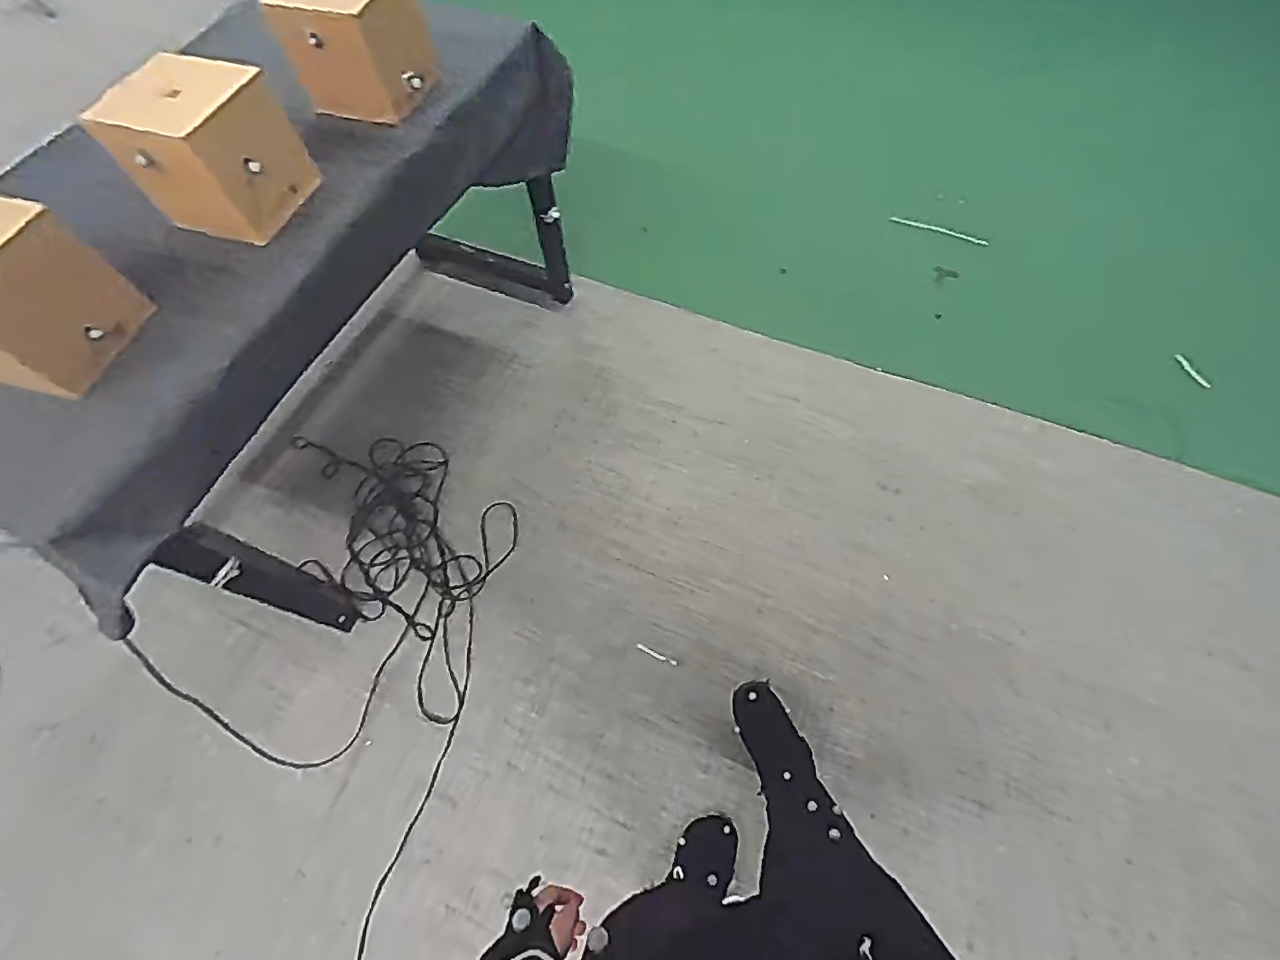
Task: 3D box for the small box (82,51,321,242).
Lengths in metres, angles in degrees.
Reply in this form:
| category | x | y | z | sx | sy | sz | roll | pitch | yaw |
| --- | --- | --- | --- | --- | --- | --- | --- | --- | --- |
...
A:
| category | x | y | z | sx | sy | sz | roll | pitch | yaw |
| --- | --- | --- | --- | --- | --- | --- | --- | --- | --- |
| small box | -0.621 | -0.482 | 0.795 | 0.179 | 0.176 | 0.168 | 16 | 65 | 10 |

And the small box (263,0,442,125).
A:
| category | x | y | z | sx | sy | sz | roll | pitch | yaw |
| --- | --- | --- | --- | --- | --- | --- | --- | --- | --- |
| small box | -0.474 | -0.743 | 0.922 | 0.179 | 0.176 | 0.168 | 15 | 66 | 8 |
